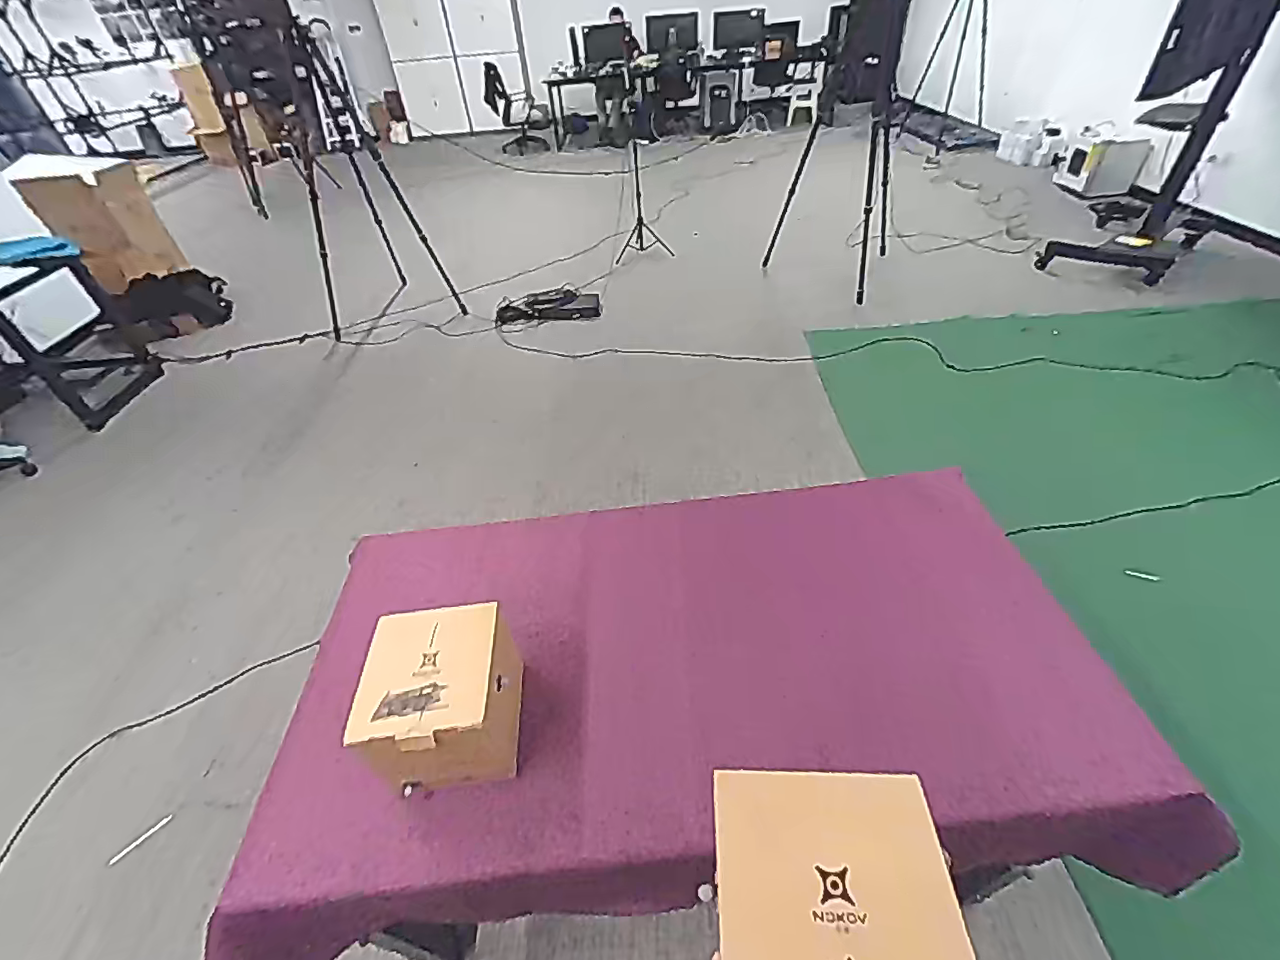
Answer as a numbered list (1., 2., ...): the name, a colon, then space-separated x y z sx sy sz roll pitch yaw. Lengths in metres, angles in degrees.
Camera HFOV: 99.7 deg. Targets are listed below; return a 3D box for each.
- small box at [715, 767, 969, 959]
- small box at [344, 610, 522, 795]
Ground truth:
1. small box: 0.144 0.358 0.432 0.168 0.176 0.179 -3 39 8
2. small box: -0.262 0.307 0.736 0.168 0.176 0.179 -7 41 -2
